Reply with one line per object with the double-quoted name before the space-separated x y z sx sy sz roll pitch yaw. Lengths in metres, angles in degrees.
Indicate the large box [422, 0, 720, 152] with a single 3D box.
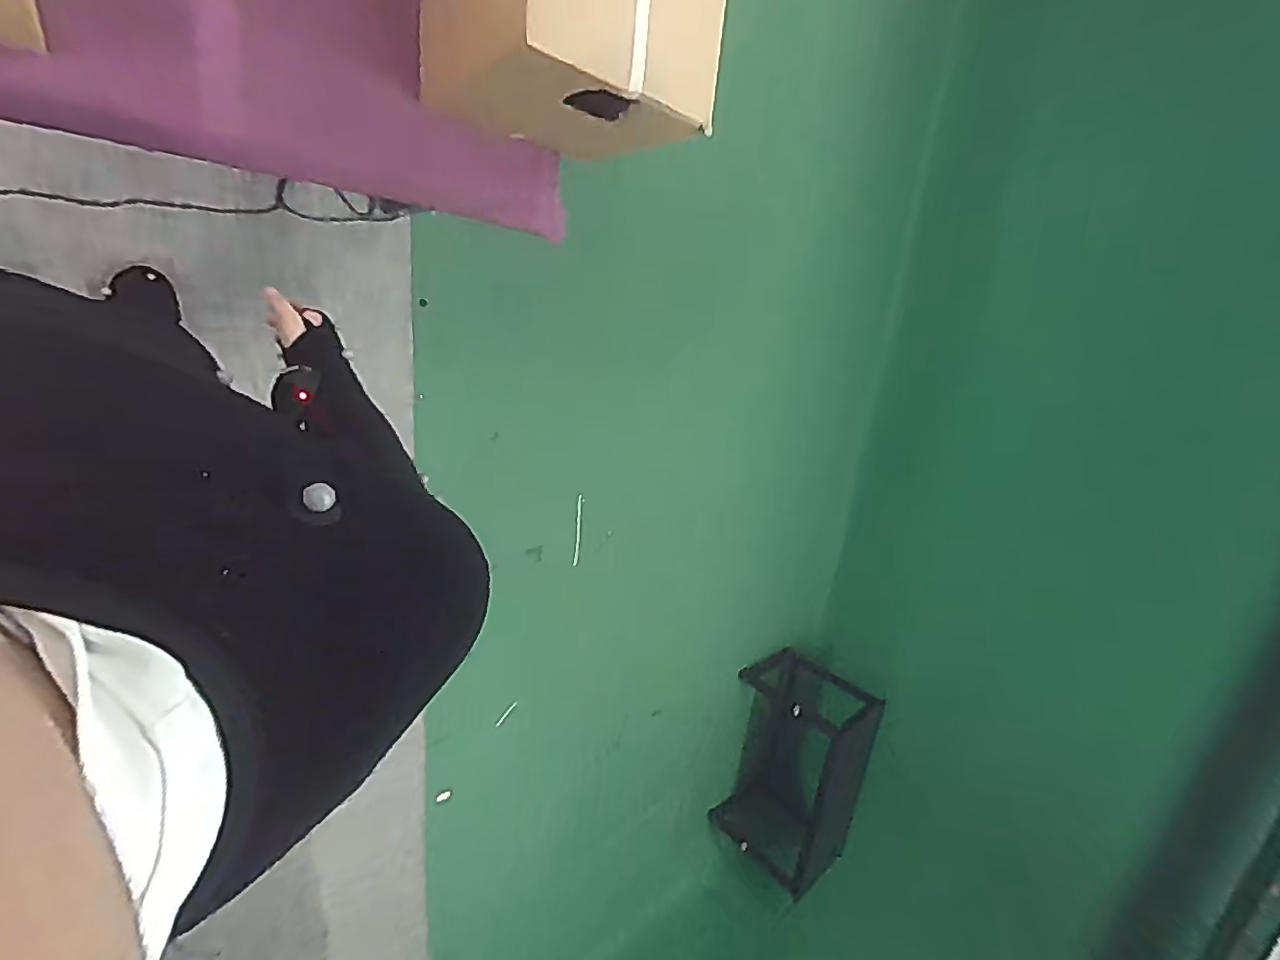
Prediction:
"large box" -0.095 -0.733 0.745 0.320 0.320 0.408 -10 113 -41
